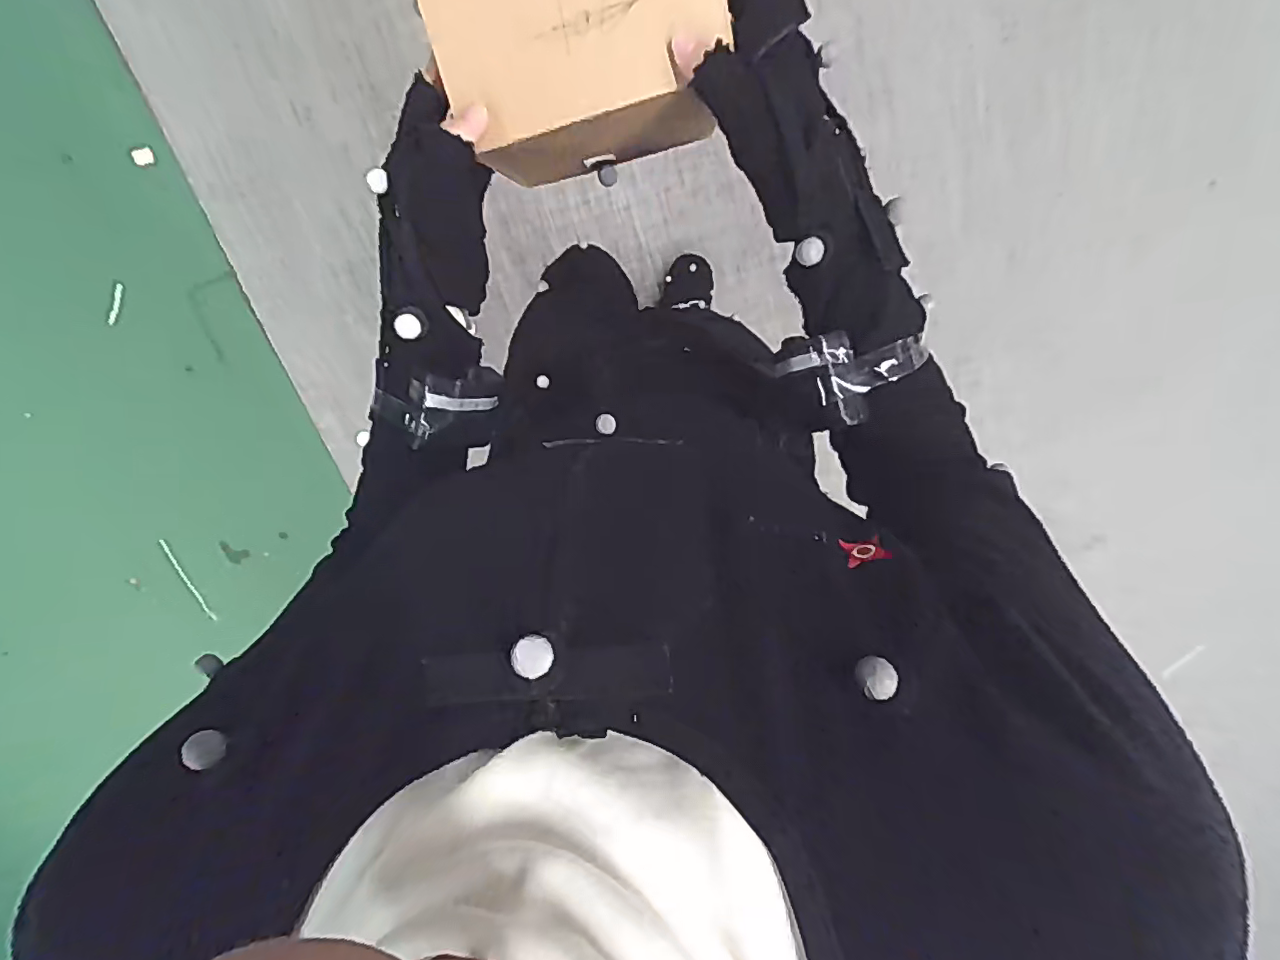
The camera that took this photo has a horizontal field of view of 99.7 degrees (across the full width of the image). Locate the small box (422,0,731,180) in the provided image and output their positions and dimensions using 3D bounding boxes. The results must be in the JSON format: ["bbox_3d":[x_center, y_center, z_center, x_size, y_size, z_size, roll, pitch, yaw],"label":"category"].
[{"bbox_3d":[-0.044,-0.328,0.362,0.168,0.176,0.179,-13,111,8],"label":"small box"}]
